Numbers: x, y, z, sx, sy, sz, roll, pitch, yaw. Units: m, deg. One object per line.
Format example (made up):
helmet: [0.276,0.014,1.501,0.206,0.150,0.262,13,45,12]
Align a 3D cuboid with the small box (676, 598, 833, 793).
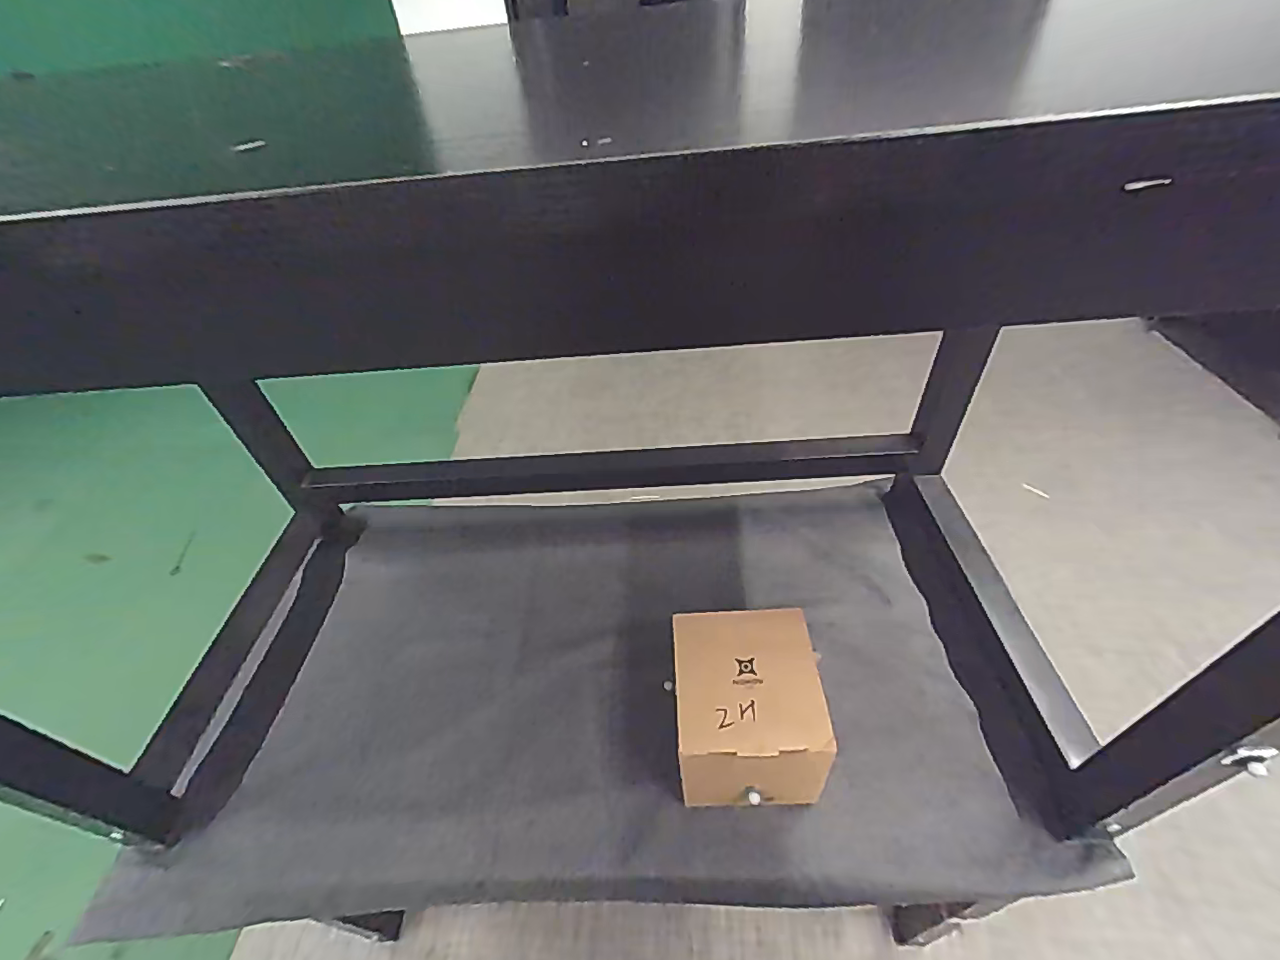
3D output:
small box: [0.130,0.271,0.684,0.168,0.176,0.179,-4,42,4]
